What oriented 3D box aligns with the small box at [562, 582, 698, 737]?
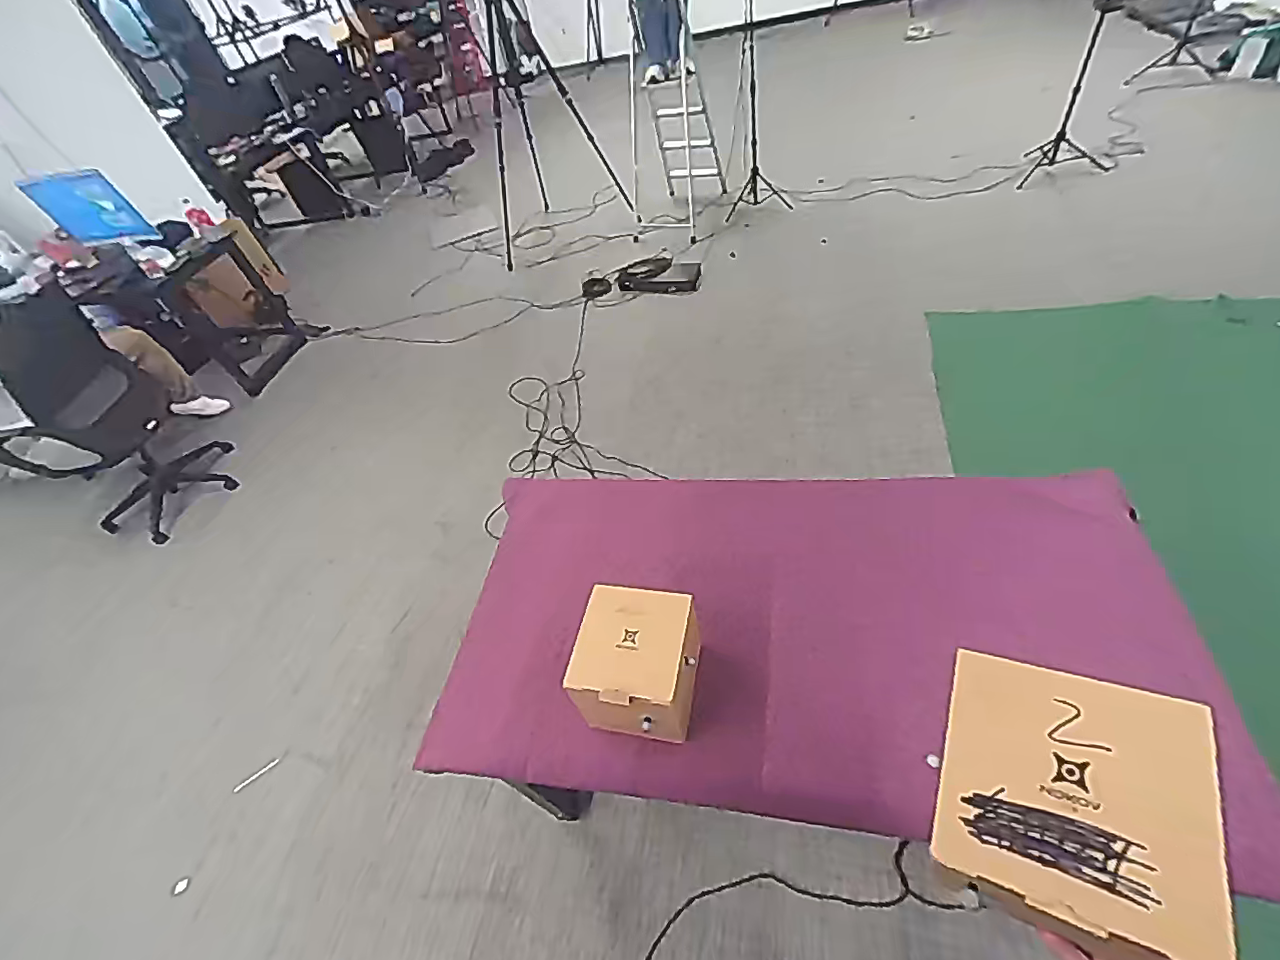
[{"bbox_3d":[-0.004,0.291,0.873,0.168,0.176,0.179,4,48,16],"label":"small box"}]
